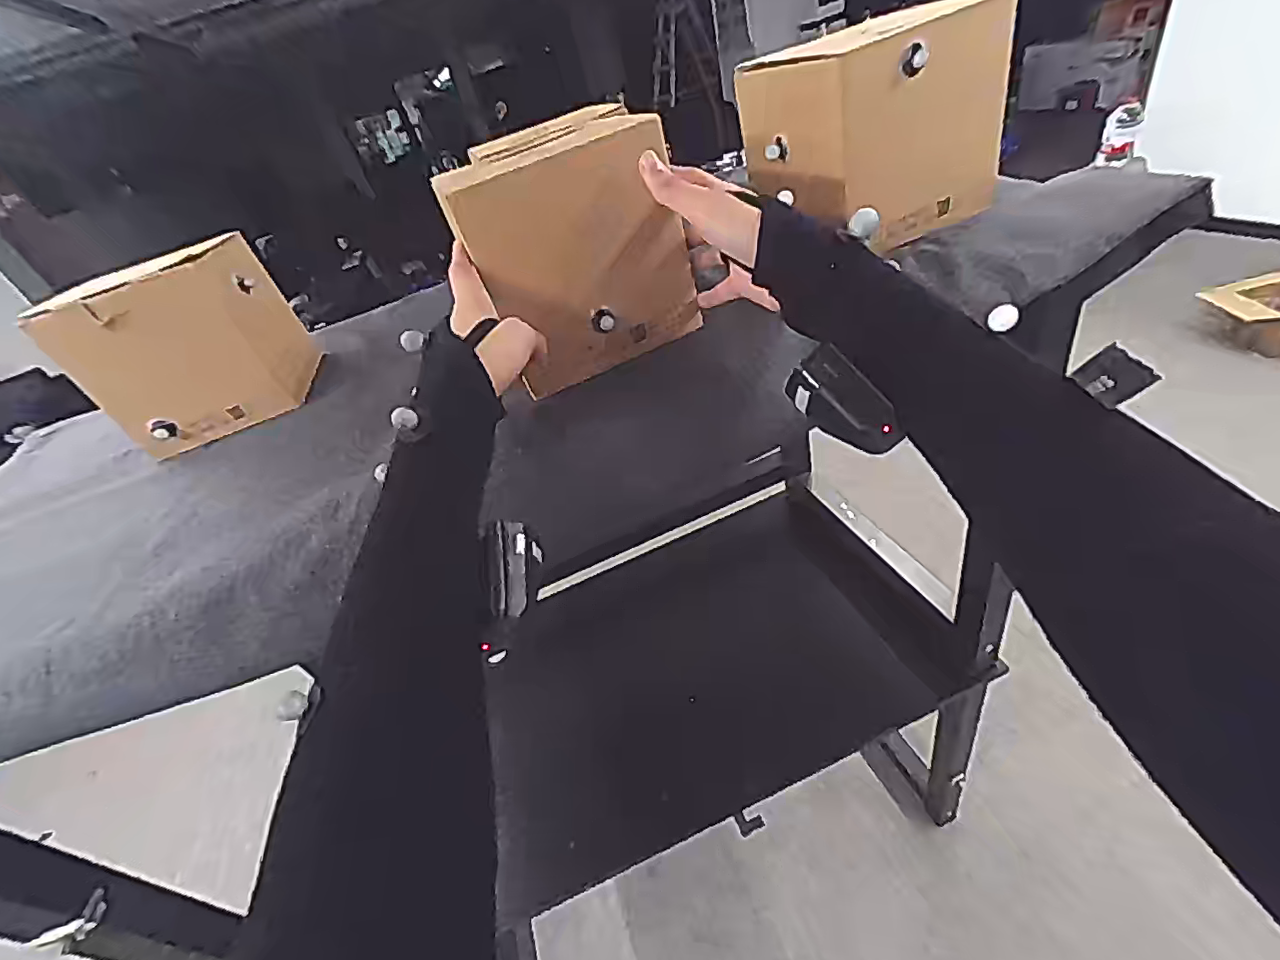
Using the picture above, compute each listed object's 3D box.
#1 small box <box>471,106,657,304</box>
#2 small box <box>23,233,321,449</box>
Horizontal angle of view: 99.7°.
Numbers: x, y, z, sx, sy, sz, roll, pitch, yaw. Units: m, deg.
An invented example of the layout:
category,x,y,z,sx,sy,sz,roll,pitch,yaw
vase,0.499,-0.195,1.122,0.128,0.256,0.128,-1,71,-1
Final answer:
category,x,y,z,sx,sy,sz,roll,pitch,yaw
small box,-0.095,-0.338,0.671,0.168,0.176,0.179,-23,37,-5
small box,-0.501,-0.156,0.619,0.168,0.176,0.179,-23,37,-6
